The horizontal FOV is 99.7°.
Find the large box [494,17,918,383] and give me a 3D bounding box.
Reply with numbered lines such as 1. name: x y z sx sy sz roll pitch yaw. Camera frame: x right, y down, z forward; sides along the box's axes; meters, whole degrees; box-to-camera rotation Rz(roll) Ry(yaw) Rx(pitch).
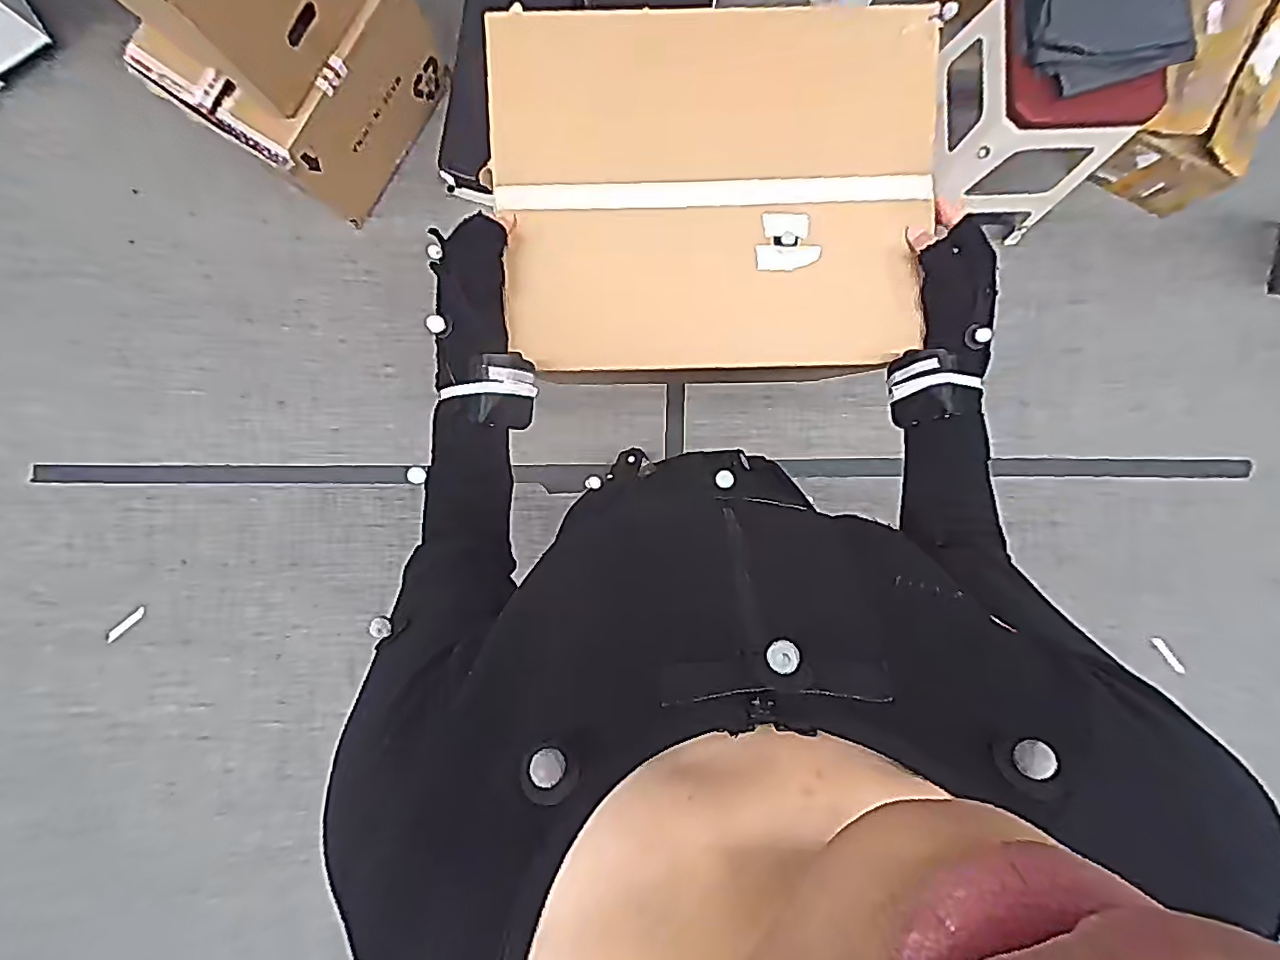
1. large box: 0.064 -0.291 0.668 0.408 0.320 0.320 -2 98 -1
